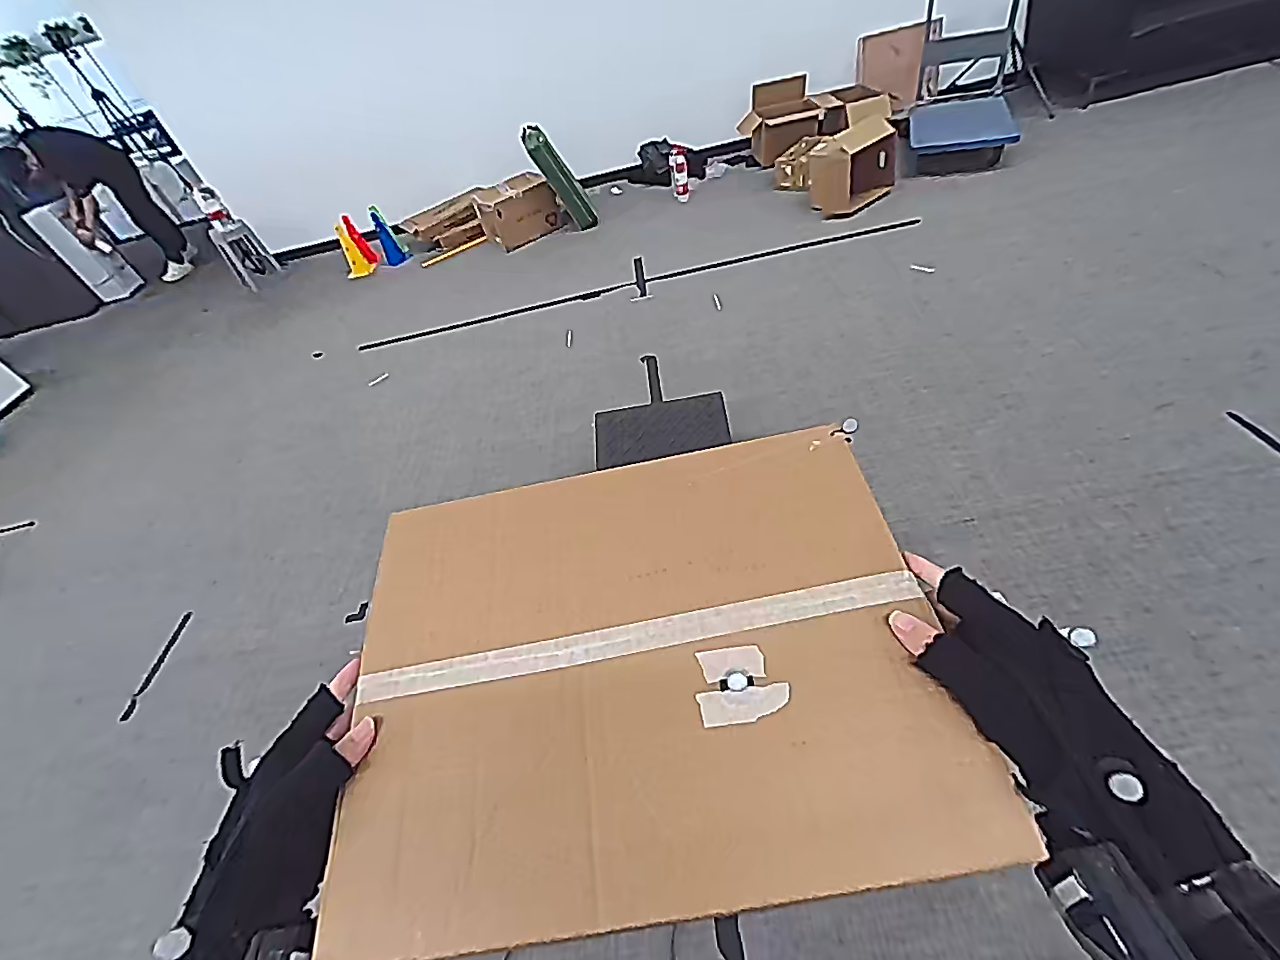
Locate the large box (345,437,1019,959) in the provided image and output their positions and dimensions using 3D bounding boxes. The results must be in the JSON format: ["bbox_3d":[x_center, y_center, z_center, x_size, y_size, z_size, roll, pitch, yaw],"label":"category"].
[{"bbox_3d":[0.021,0.207,0.515,0.408,0.320,0.320,-11,53,2],"label":"large box"}]
